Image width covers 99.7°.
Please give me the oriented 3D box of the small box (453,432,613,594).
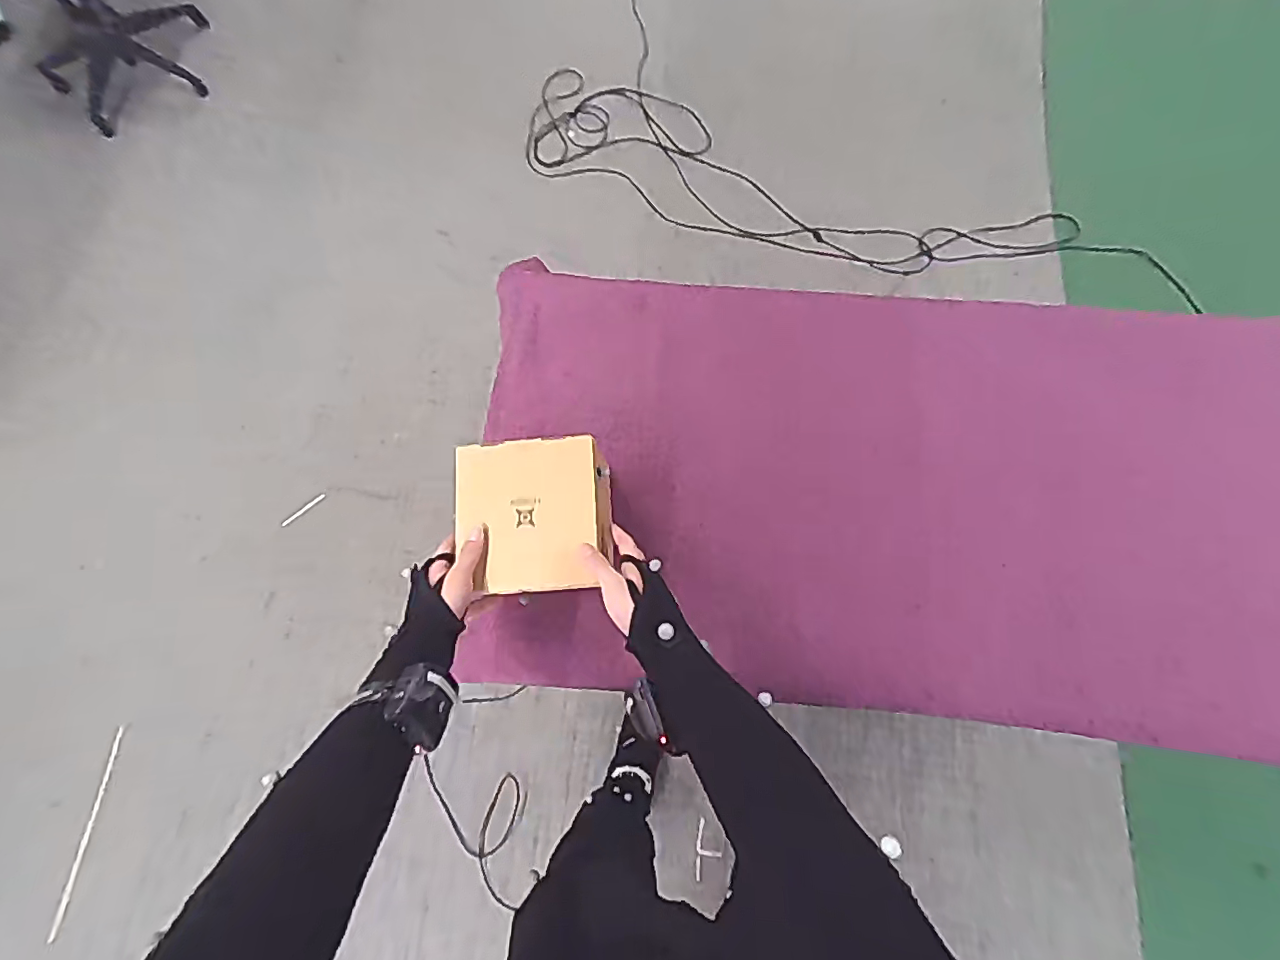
[{"bbox_3d":[-0.128,0.053,0.697,0.168,0.176,0.179,-6,75,2],"label":"small box"}]
